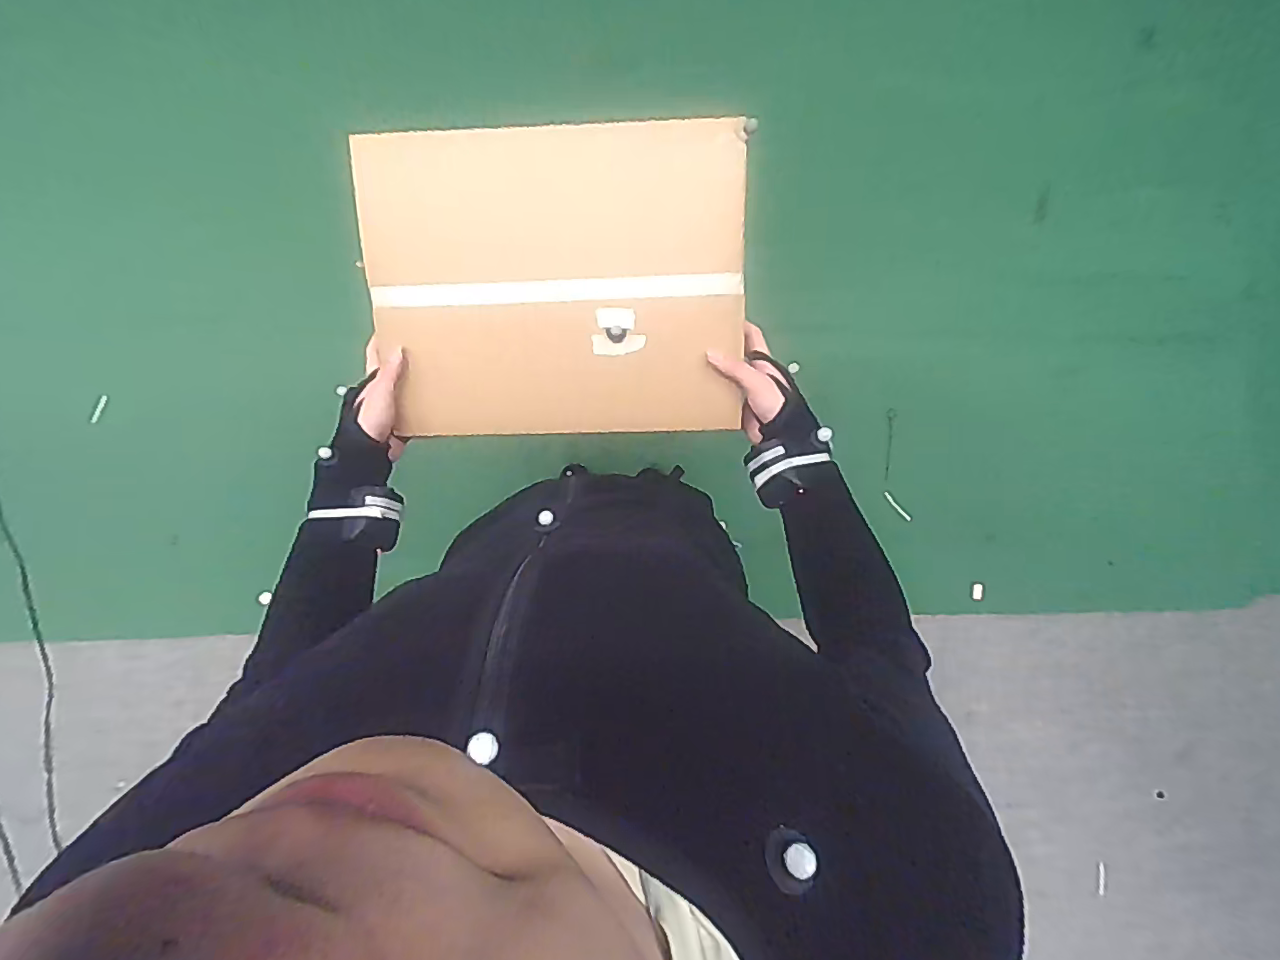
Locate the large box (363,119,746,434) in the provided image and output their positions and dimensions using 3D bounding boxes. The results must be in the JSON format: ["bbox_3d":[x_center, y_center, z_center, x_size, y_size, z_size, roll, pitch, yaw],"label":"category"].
[{"bbox_3d":[-0.083,-0.247,0.734,0.408,0.320,0.320,-2,105,2],"label":"large box"}]
